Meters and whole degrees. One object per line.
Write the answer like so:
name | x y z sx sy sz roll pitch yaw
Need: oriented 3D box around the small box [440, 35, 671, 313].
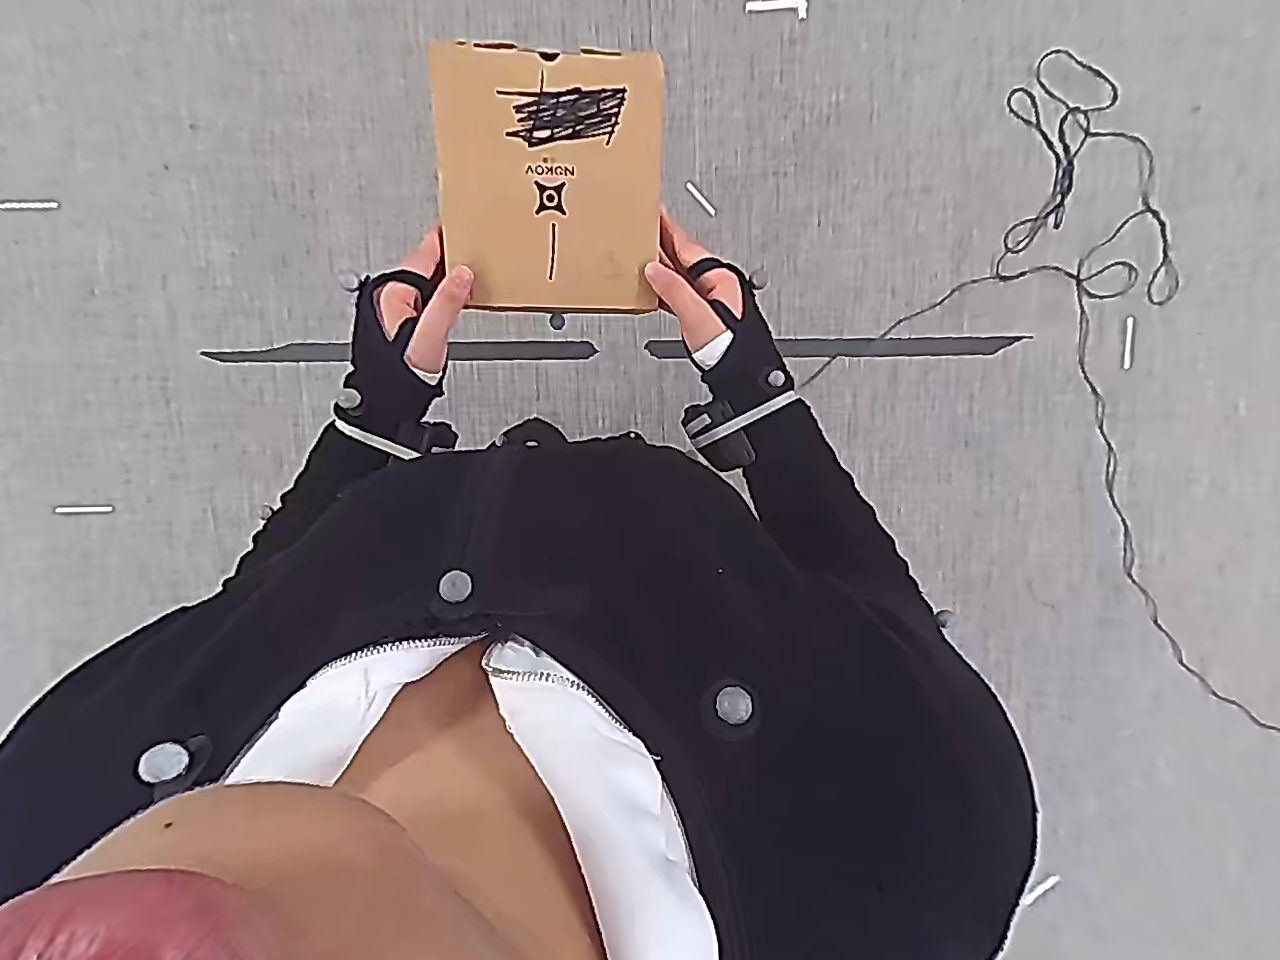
small box | -0.069 -0.245 0.479 0.168 0.176 0.179 0 106 -5
